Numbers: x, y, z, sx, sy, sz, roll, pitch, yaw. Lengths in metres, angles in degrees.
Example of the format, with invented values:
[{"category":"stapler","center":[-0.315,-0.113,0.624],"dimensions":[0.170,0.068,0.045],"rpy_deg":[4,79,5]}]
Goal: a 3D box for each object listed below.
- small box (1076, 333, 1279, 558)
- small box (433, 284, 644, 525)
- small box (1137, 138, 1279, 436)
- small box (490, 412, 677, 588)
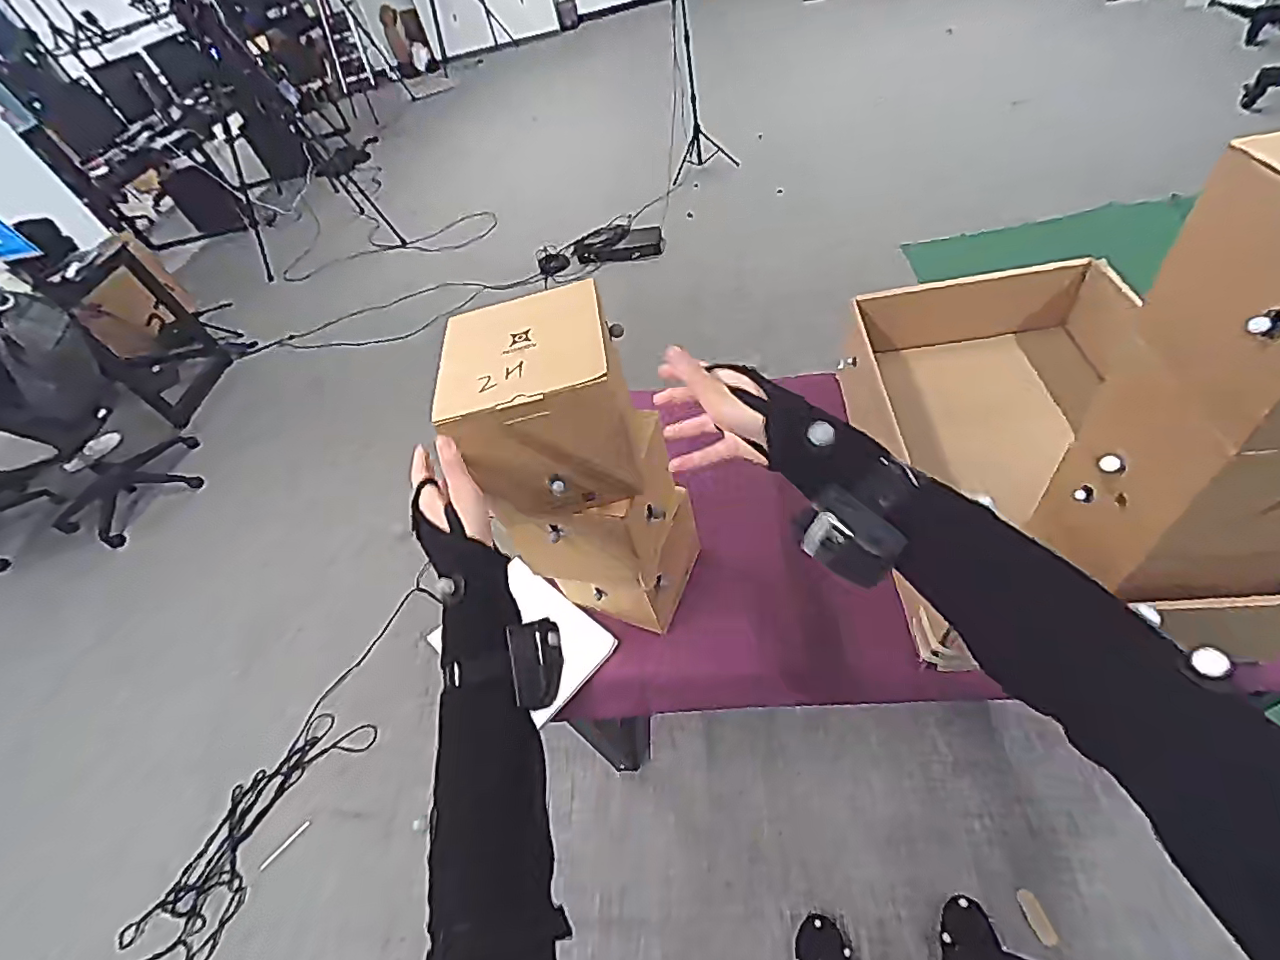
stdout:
[{"category":"small box","center":[0.579,-0.038,0.522],"dimensions":[0.179,0.176,0.168],"rpy_deg":[-6,49,14]},{"category":"small box","center":[-0.098,-0.079,0.588],"dimensions":[0.168,0.176,0.179],"rpy_deg":[-14,48,5]},{"category":"small box","center":[0.540,-0.146,0.405],"dimensions":[0.168,0.176,0.179],"rpy_deg":[-5,49,13]},{"category":"small box","center":[-0.058,0.026,0.709],"dimensions":[0.179,0.176,0.168],"rpy_deg":[4,52,19]}]
